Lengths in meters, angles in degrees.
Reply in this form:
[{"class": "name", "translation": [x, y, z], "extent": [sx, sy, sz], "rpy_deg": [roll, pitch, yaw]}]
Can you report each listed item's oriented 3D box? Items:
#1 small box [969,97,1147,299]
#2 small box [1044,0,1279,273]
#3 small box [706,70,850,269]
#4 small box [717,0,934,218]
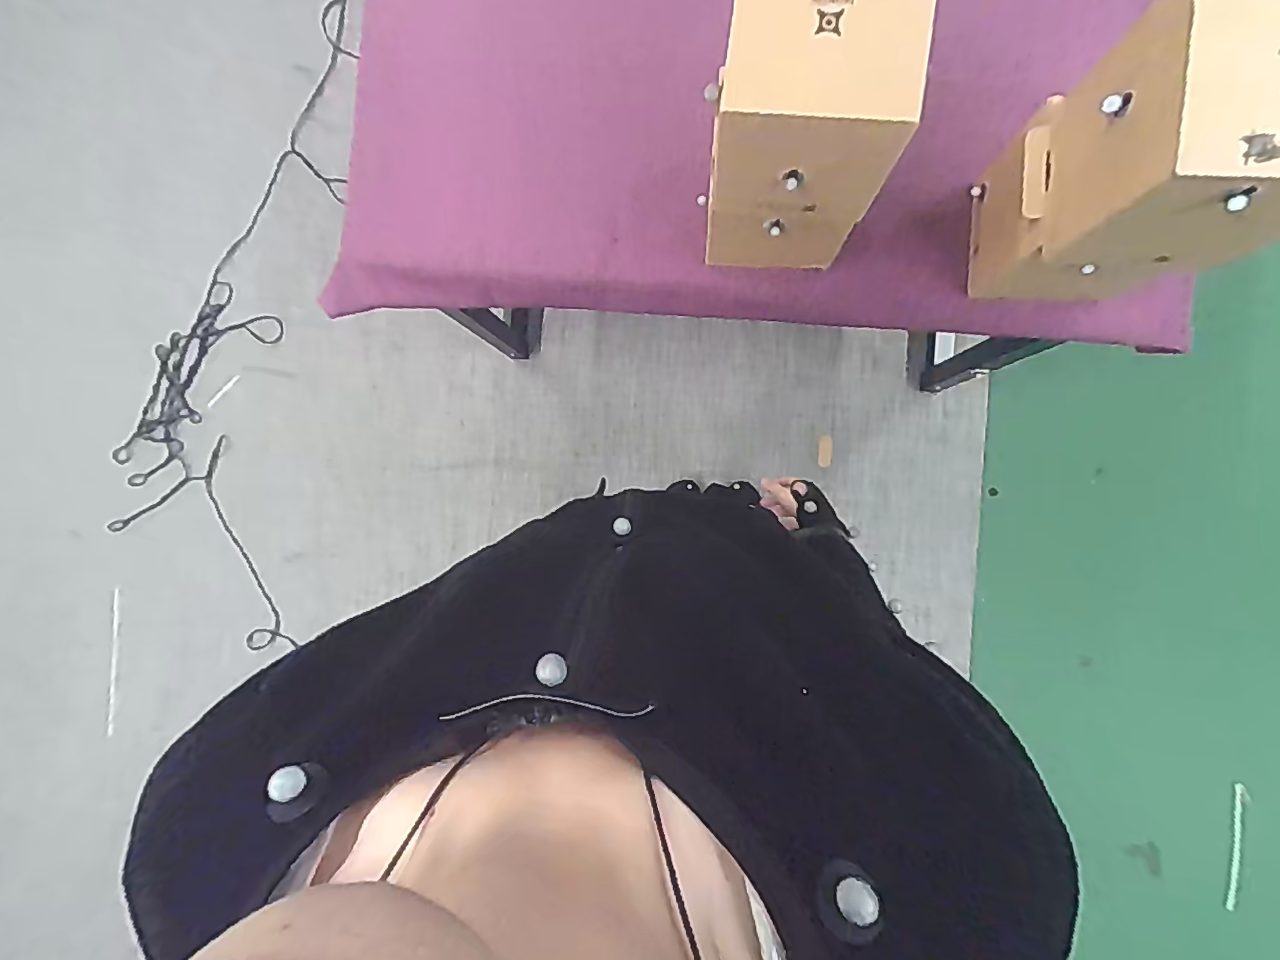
[{"class": "small box", "translation": [0.532, -0.329, 0.659], "extent": [0.179, 0.176, 0.168], "rpy_deg": [3, 90, 6]}, {"class": "small box", "translation": [0.511, -0.314, 0.496], "extent": [0.168, 0.176, 0.179], "rpy_deg": [6, 89, 7]}, {"class": "small box", "translation": [0.180, -0.388, 0.699], "extent": [0.179, 0.176, 0.168], "rpy_deg": [6, 89, 6]}, {"class": "small box", "translation": [0.169, -0.386, 0.535], "extent": [0.168, 0.176, 0.179], "rpy_deg": [8, 90, 6]}]
